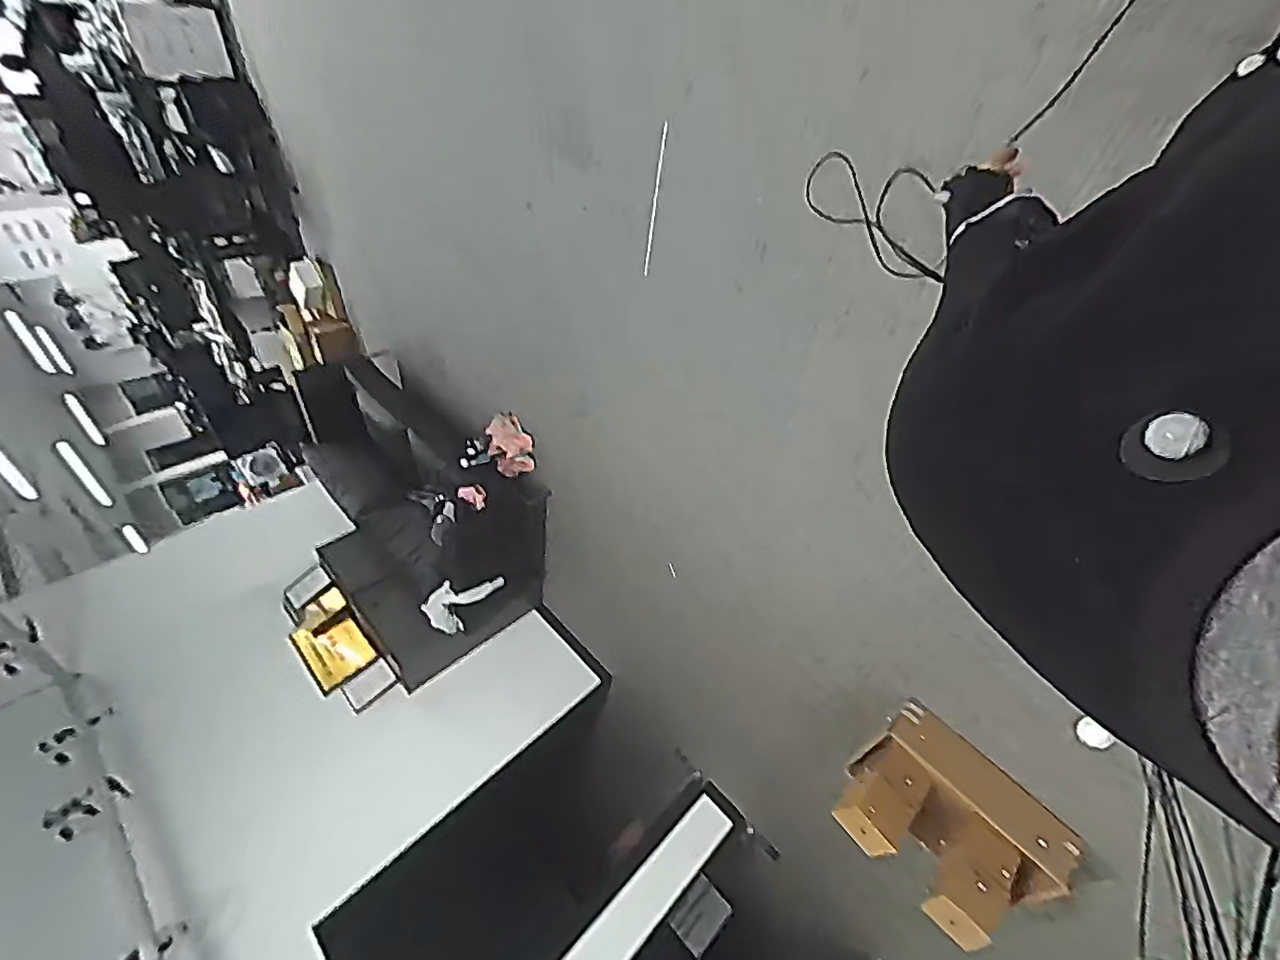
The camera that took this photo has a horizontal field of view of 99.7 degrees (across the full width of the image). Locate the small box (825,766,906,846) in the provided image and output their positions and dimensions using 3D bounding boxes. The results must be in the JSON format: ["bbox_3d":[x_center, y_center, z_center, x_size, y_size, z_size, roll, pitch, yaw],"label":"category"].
[{"bbox_3d":[0.811,1.170,1.940,0.179,0.176,0.168,47,142,17],"label":"small box"}]

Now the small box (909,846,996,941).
[{"bbox_3d":[1.041,1.371,1.797,0.168,0.176,0.179,37,138,27],"label":"small box"}]
